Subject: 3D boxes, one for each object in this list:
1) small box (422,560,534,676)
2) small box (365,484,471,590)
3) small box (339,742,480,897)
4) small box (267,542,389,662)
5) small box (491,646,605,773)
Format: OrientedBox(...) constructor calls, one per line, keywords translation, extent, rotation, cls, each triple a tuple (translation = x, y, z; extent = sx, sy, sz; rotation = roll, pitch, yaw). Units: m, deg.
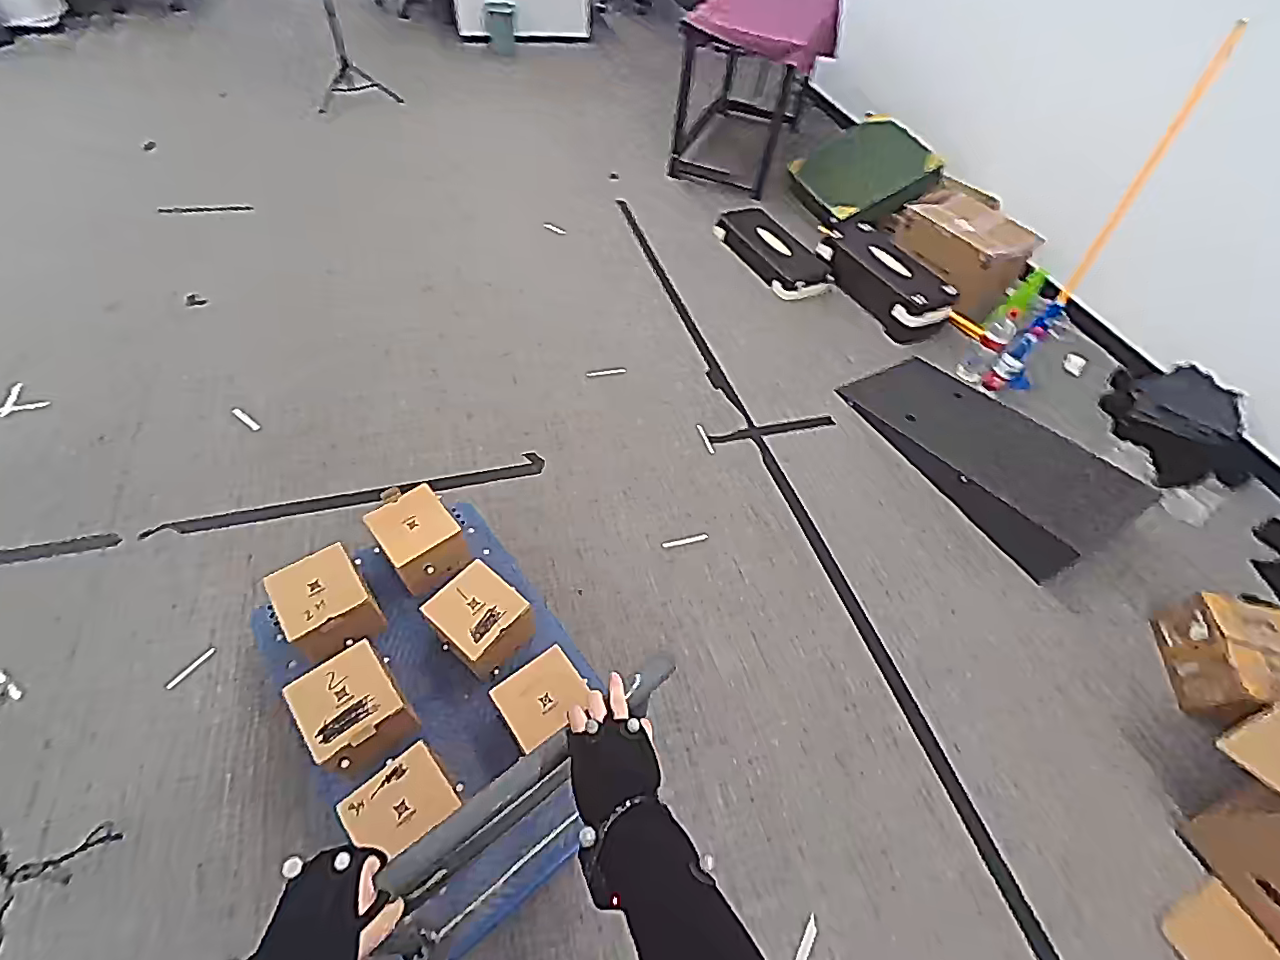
OrientedBox(translation=(-0.361, 0.324, 1.240), extent=(0.179, 0.176, 0.168), rotation=(35, 57, 19), cls="small box")
OrientedBox(translation=(-0.544, 0.151, 1.346), extent=(0.168, 0.176, 0.179), rotation=(-34, 64, -27), cls="small box")
OrientedBox(translation=(-0.418, 0.628, 1.007), extent=(0.168, 0.176, 0.179), rotation=(-33, 64, -28), cls="small box")
OrientedBox(translation=(-0.701, 0.281, 1.228), extent=(0.168, 0.176, 0.179), rotation=(-29, 63, -25), cls="small box")
OrientedBox(translation=(-0.190, 0.490, 1.141), extent=(0.168, 0.176, 0.179), rotation=(-30, 62, -26), cls="small box")
